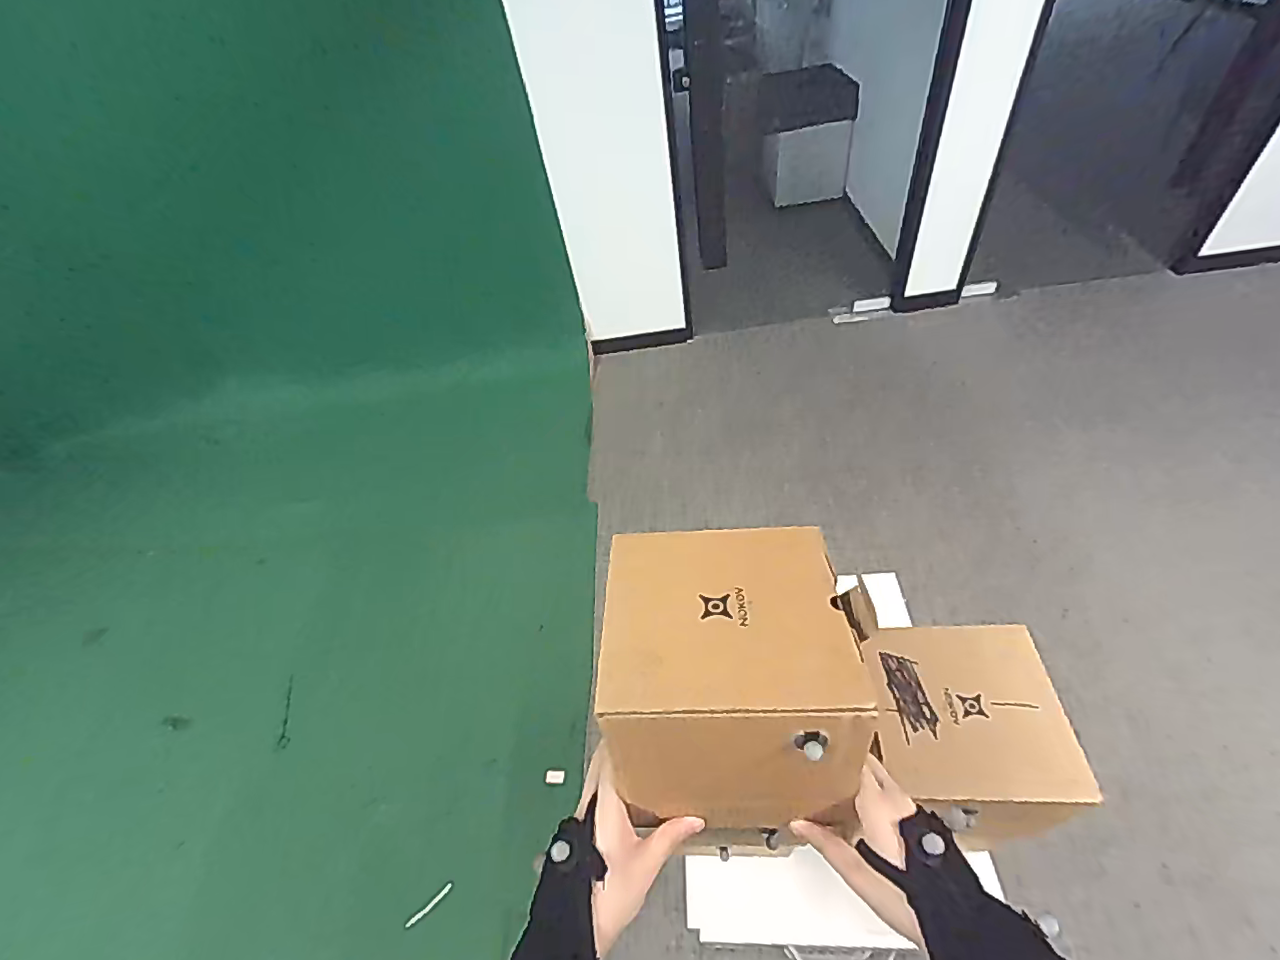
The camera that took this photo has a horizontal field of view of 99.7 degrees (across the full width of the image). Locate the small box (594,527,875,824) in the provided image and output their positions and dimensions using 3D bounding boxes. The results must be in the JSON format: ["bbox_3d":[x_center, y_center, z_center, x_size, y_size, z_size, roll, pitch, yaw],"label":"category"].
[{"bbox_3d":[0.067,0.157,0.440,0.179,0.176,0.168,-2,36,4],"label":"small box"}]

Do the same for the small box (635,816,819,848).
[{"bbox_3d":[0.090,0.297,0.604,0.179,0.176,0.168,-5,47,6],"label":"small box"}]

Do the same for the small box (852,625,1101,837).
[{"bbox_3d":[0.323,0.270,0.579,0.179,0.176,0.168,-4,48,9],"label":"small box"}]
